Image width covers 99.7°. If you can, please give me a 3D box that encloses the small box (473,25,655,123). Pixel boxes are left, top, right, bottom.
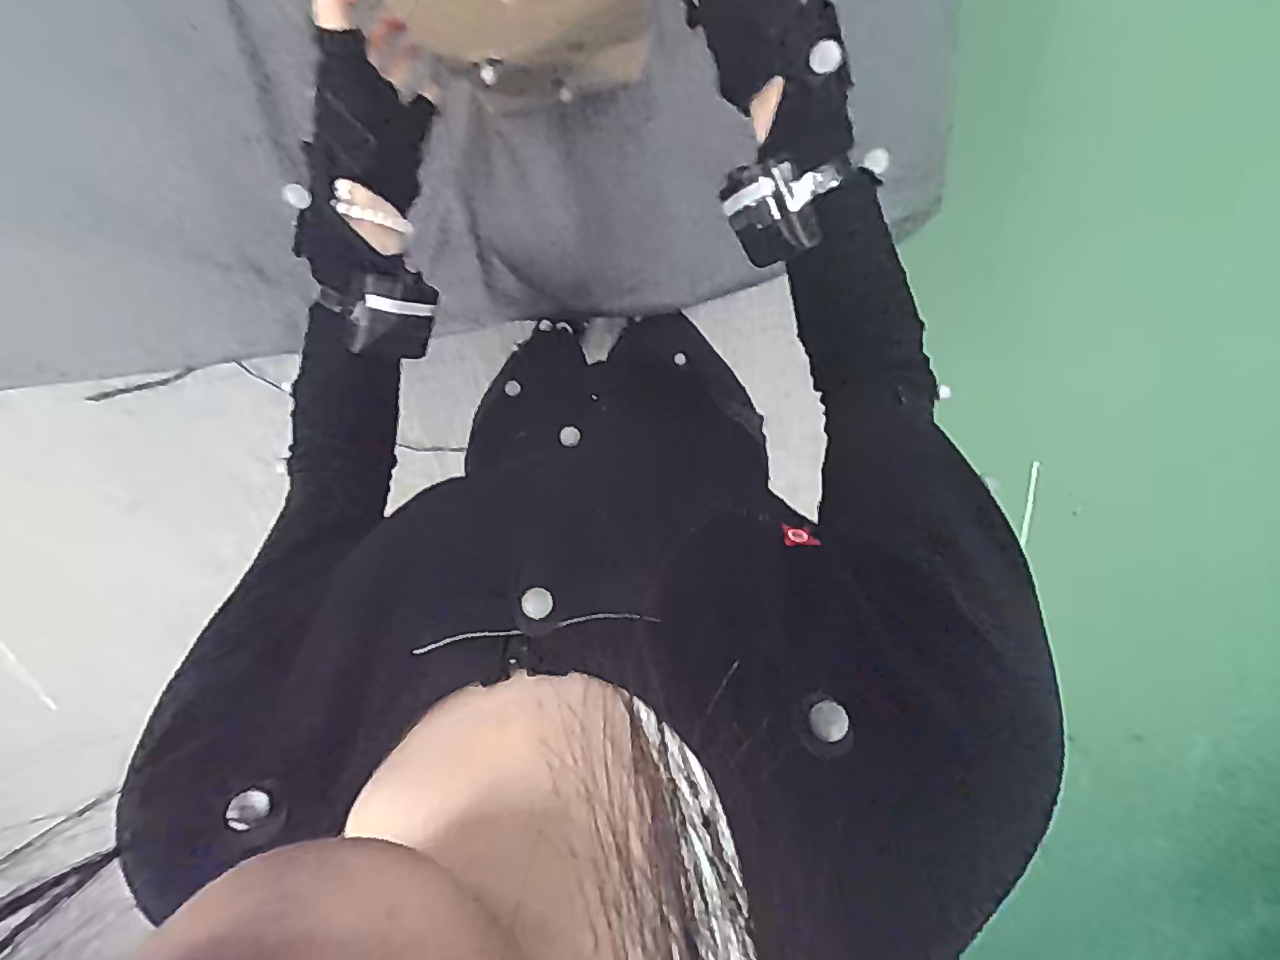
[{"bbox_3d":[-0.088,-0.457,0.490,0.168,0.176,0.179,-12,113,1],"label":"small box"}]

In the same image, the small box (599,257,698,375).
[{"bbox_3d":[0.022,-0.394,1.321,0.168,0.176,0.179,38,80,13],"label":"small box"}]

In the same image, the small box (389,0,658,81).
[{"bbox_3d":[-0.078,-0.383,0.341,0.168,0.176,0.179,-11,112,0],"label":"small box"}]
